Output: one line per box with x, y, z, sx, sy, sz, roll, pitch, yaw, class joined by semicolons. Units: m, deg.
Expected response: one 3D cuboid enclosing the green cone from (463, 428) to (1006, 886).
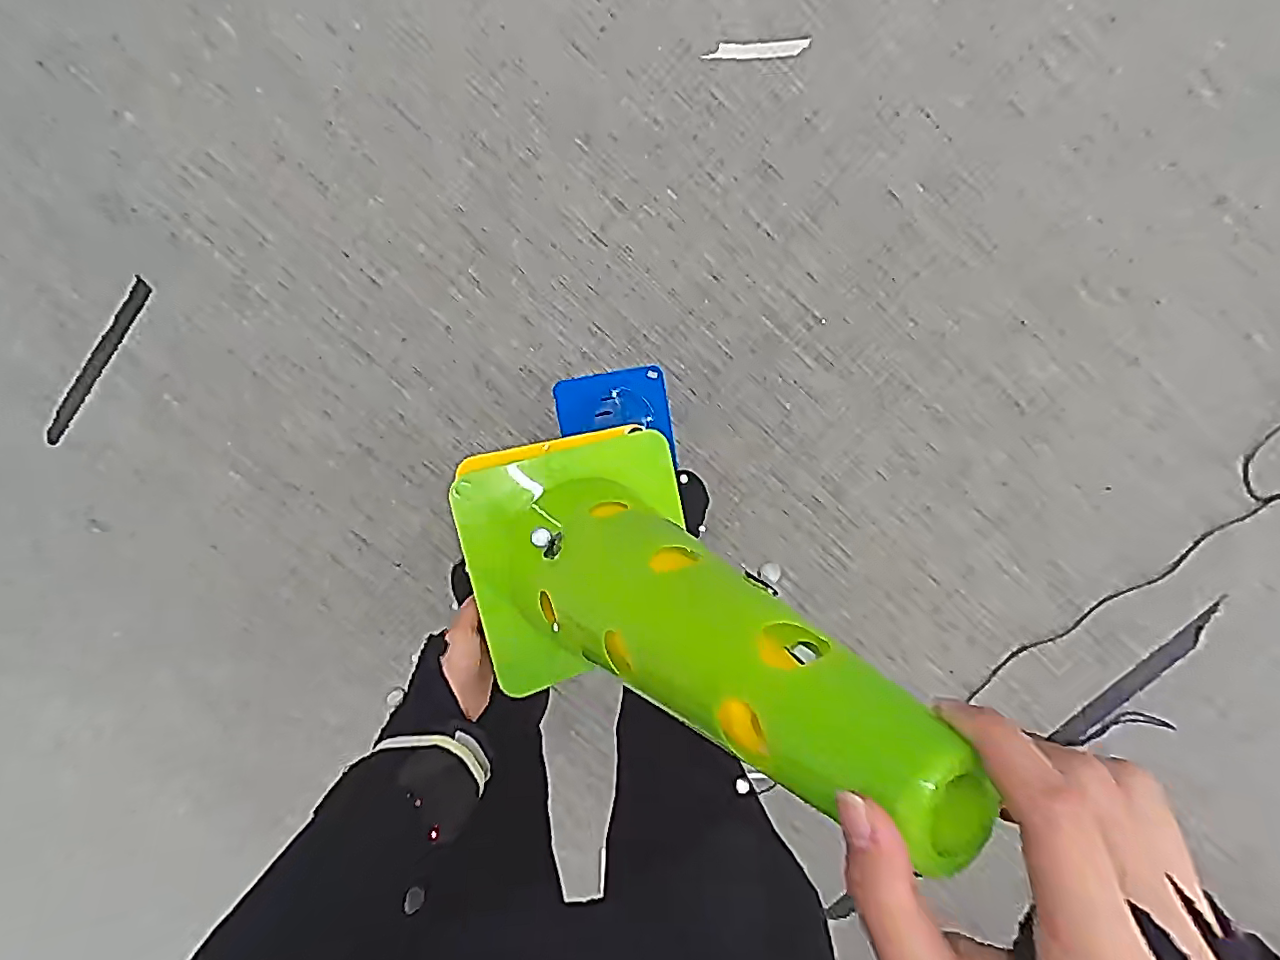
0.028;0.078;0.318;0.202;0.368;0.200;-16;100;-20;green cone
